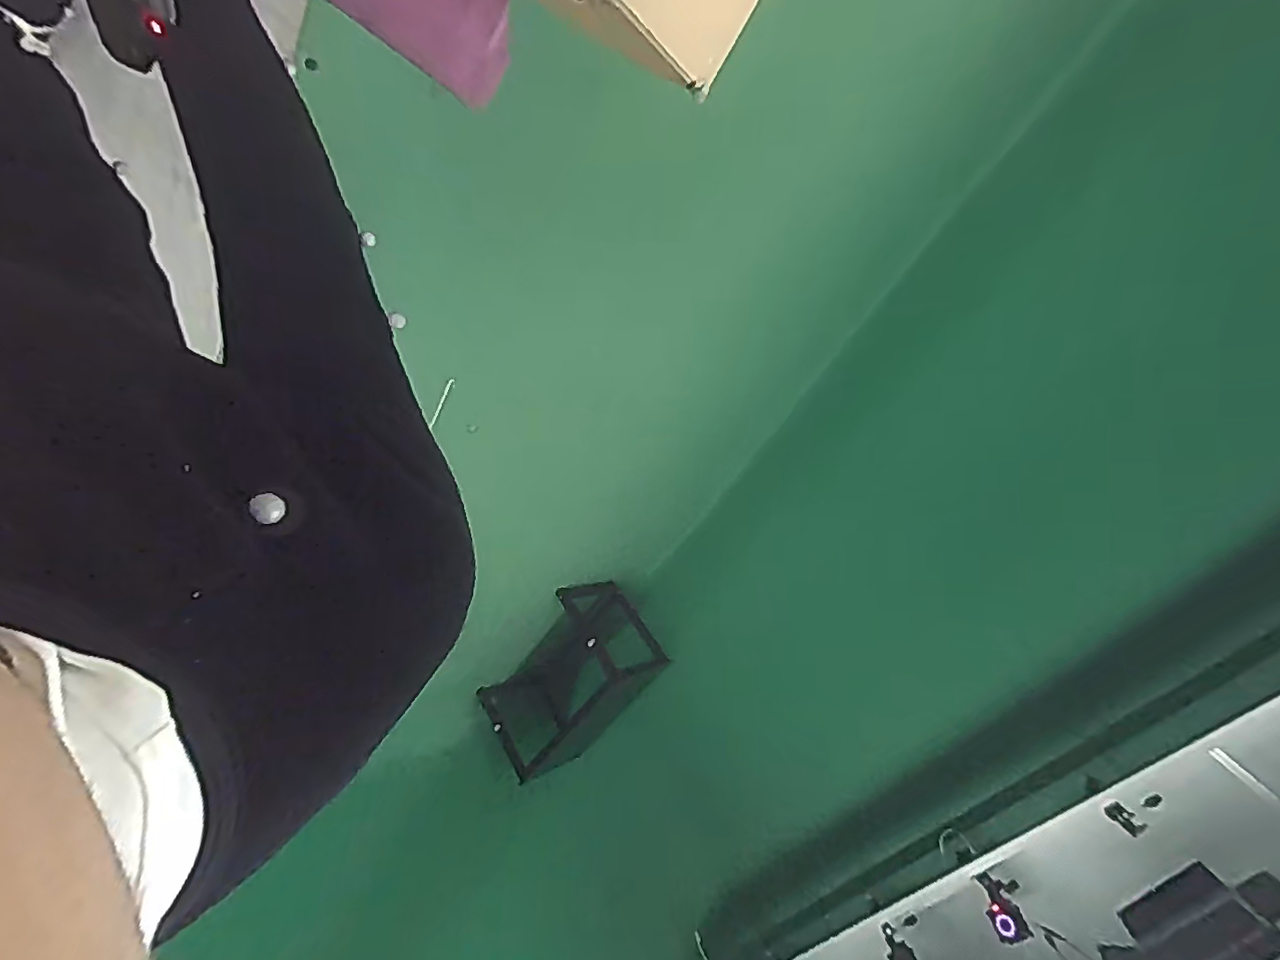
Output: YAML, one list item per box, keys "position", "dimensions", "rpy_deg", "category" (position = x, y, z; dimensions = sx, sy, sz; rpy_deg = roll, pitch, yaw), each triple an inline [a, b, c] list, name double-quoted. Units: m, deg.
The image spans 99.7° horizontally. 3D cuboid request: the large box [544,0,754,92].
- position: [-0.012, -0.635, 0.409]
  dimensions: [0.320, 0.320, 0.408]
  rpy_deg: [2, 132, -50]
  category: "large box"
